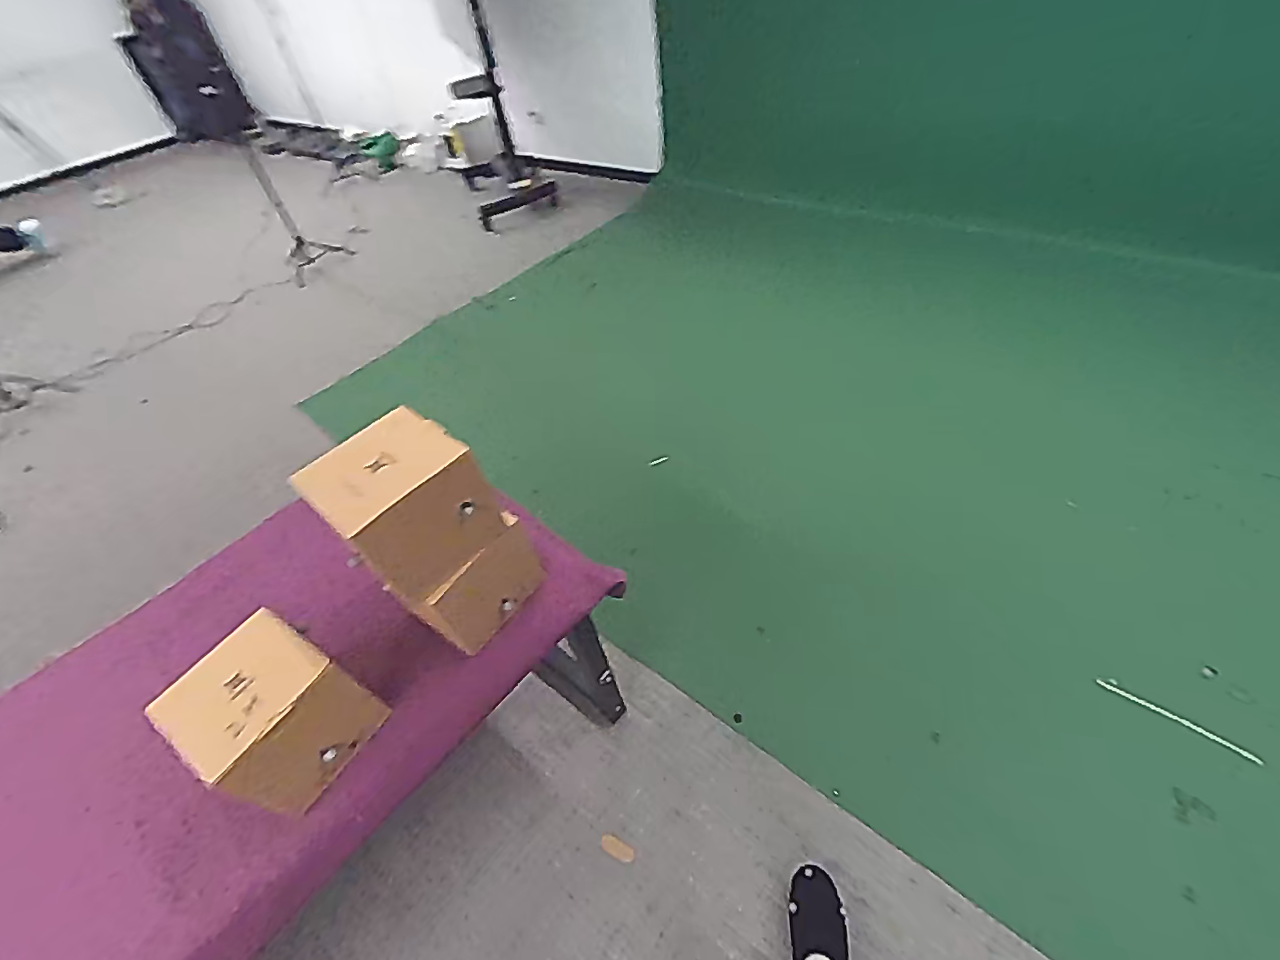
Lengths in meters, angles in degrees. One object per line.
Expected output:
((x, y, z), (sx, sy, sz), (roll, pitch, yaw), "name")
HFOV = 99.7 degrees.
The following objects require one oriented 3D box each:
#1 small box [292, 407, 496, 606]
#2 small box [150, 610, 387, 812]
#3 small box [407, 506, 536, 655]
((-0.321, 0.036, 0.746), (0.168, 0.176, 0.179), (29, 59, 31), "small box")
((-0.492, 0.317, 0.739), (0.179, 0.176, 0.168), (21, 54, 27), "small box")
((-0.287, 0.142, 0.866), (0.168, 0.176, 0.179), (23, 55, 28), "small box")
